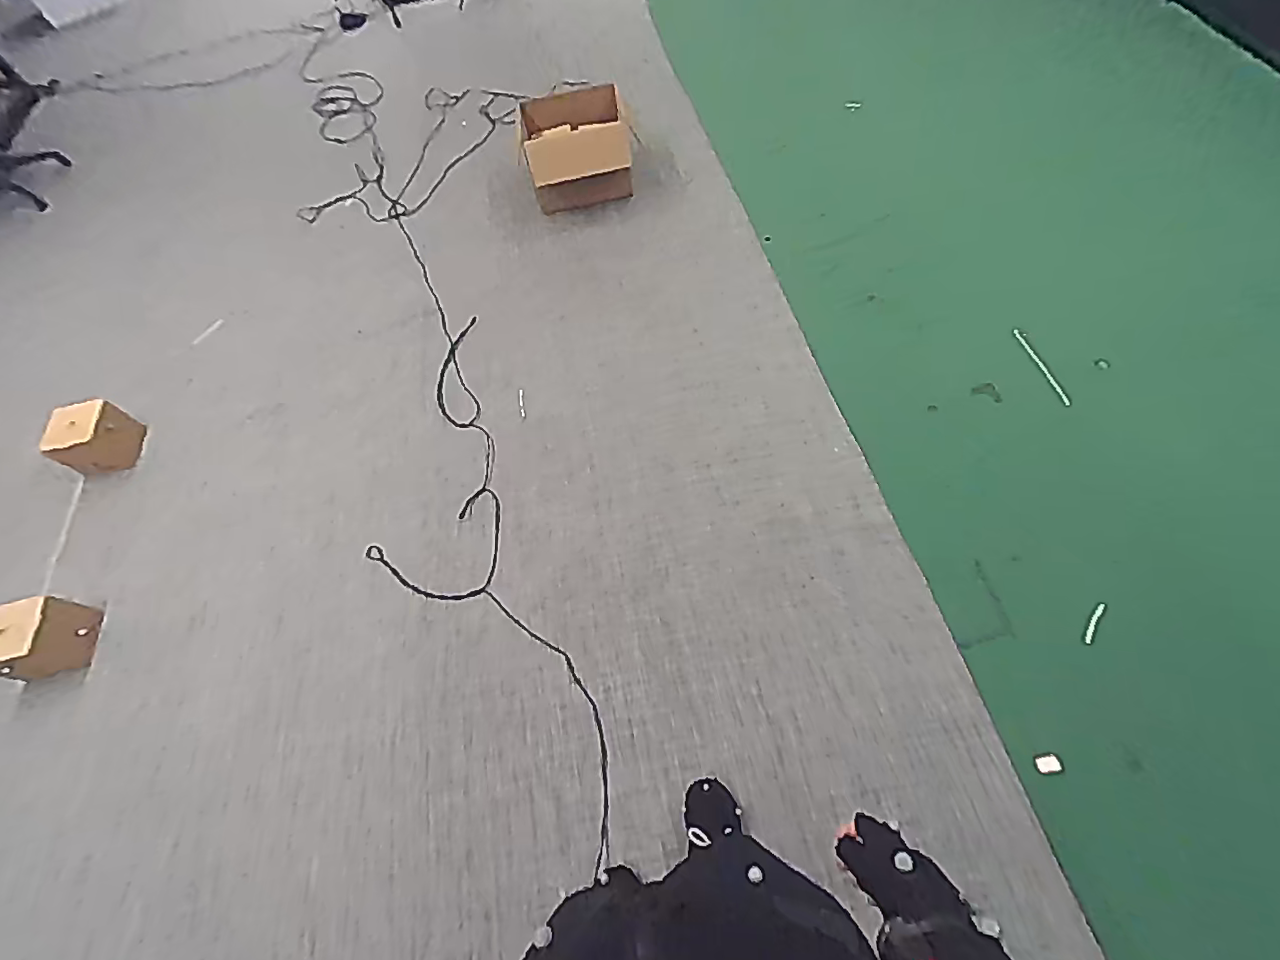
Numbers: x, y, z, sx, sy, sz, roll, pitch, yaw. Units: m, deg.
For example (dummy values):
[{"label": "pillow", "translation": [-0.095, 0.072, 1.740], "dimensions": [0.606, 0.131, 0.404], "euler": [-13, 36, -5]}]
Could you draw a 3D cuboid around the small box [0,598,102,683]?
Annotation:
[{"label": "small box", "translation": [-1.653, 0.443, 1.476], "dimensions": [0.179, 0.176, 0.168], "euler": [-14, 61, -2]}]

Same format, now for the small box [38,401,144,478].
[{"label": "small box", "translation": [-1.822, -0.132, 1.809], "dimensions": [0.168, 0.176, 0.179], "euler": [-14, 62, -2]}]
